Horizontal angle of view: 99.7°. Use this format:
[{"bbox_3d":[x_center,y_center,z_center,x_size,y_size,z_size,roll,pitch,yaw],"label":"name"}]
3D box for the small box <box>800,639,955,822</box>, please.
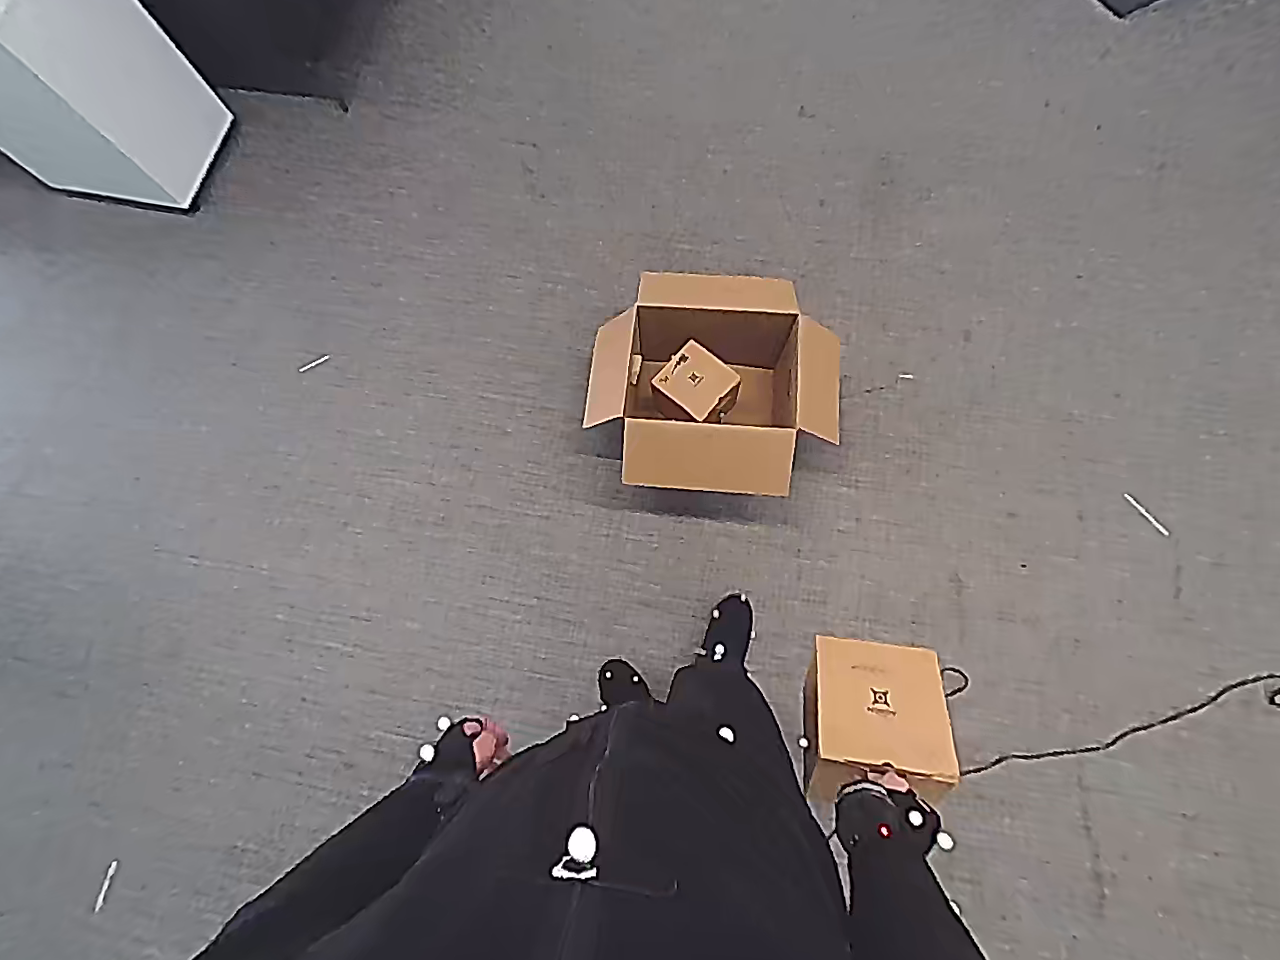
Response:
[{"bbox_3d":[0.328,0.363,0.783,0.168,0.176,0.179,6,41,11],"label":"small box"}]
